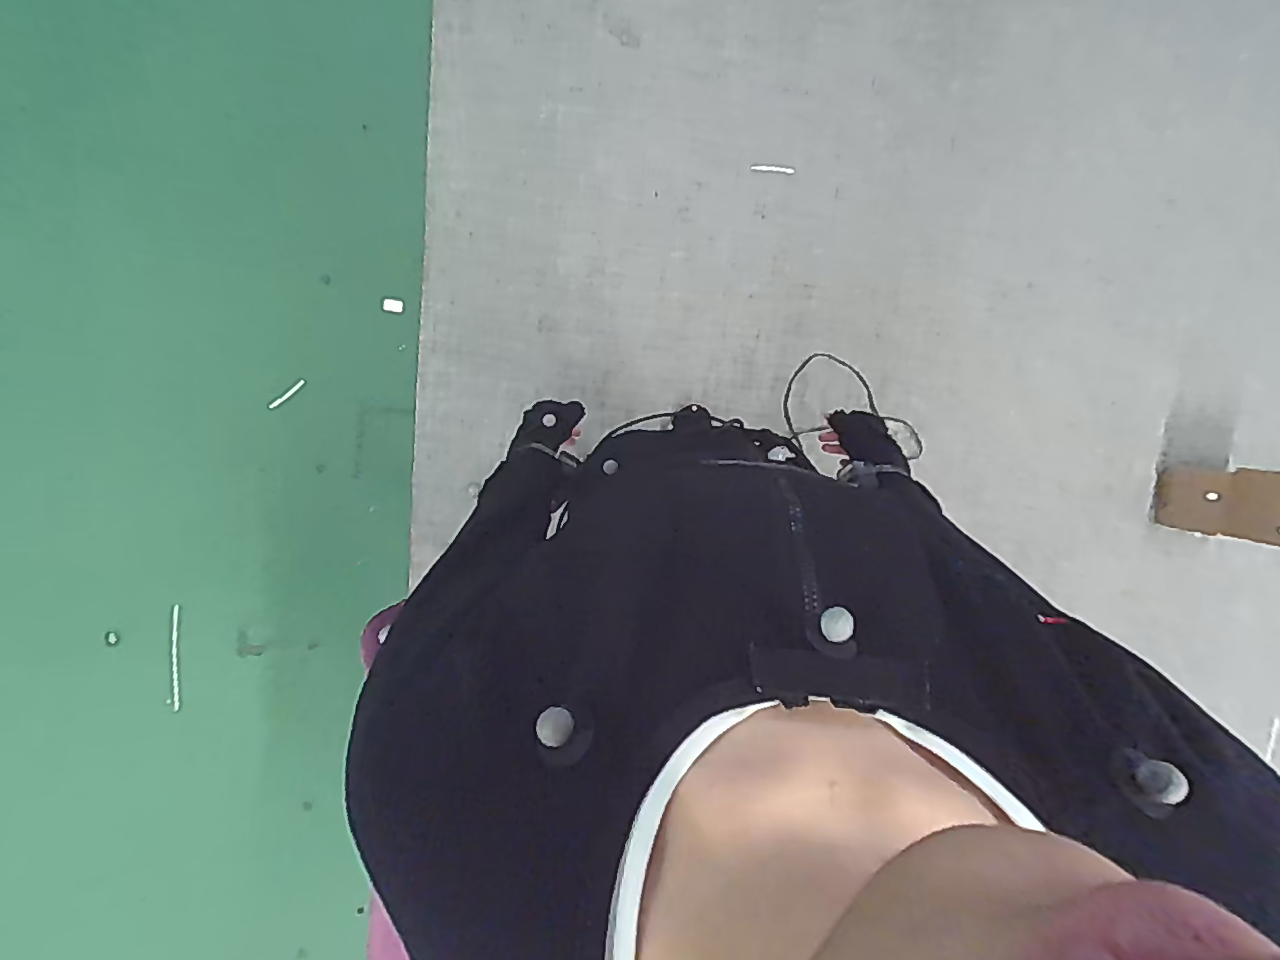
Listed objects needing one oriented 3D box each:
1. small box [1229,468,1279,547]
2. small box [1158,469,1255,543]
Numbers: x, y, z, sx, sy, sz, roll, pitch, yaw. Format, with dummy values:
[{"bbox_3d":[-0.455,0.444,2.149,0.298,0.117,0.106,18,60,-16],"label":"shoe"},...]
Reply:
[{"bbox_3d":[1.517,0.070,1.231,0.168,0.176,0.179,4,97,0],"label":"small box"},{"bbox_3d":[1.514,0.063,1.395,0.179,0.176,0.168,4,96,-1],"label":"small box"}]
